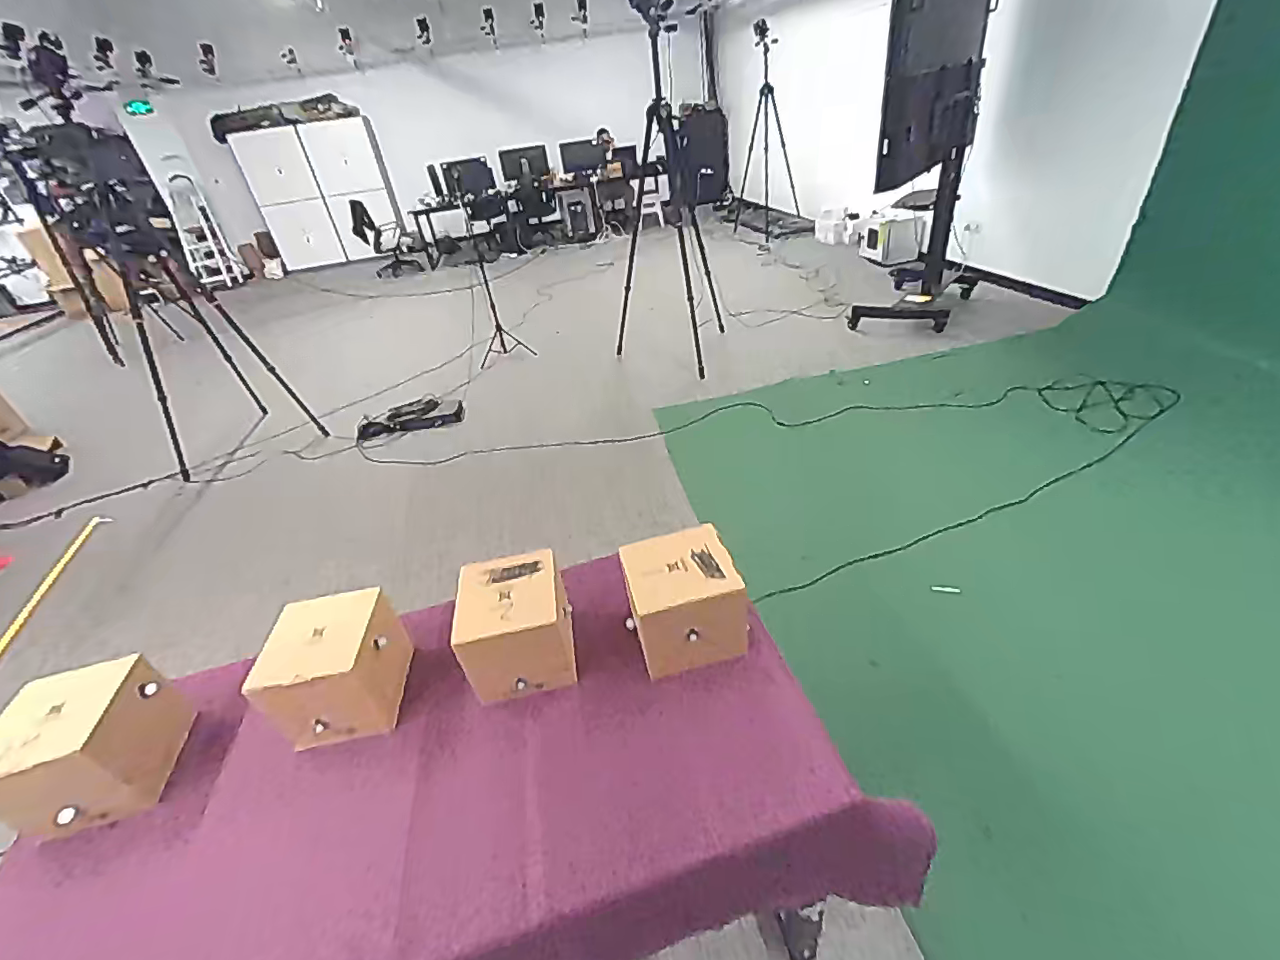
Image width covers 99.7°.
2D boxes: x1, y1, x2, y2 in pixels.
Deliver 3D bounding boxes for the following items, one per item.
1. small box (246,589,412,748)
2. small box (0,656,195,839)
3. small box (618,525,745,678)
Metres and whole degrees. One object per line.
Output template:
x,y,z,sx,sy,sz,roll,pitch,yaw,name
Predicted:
-0.508,0.318,0.919,0.168,0.176,0.179,-11,36,-2,small box
-0.856,0.417,0.850,0.168,0.176,0.179,-15,35,-8,small box
0.072,0.210,0.936,0.179,0.176,0.168,-15,35,-5,small box
